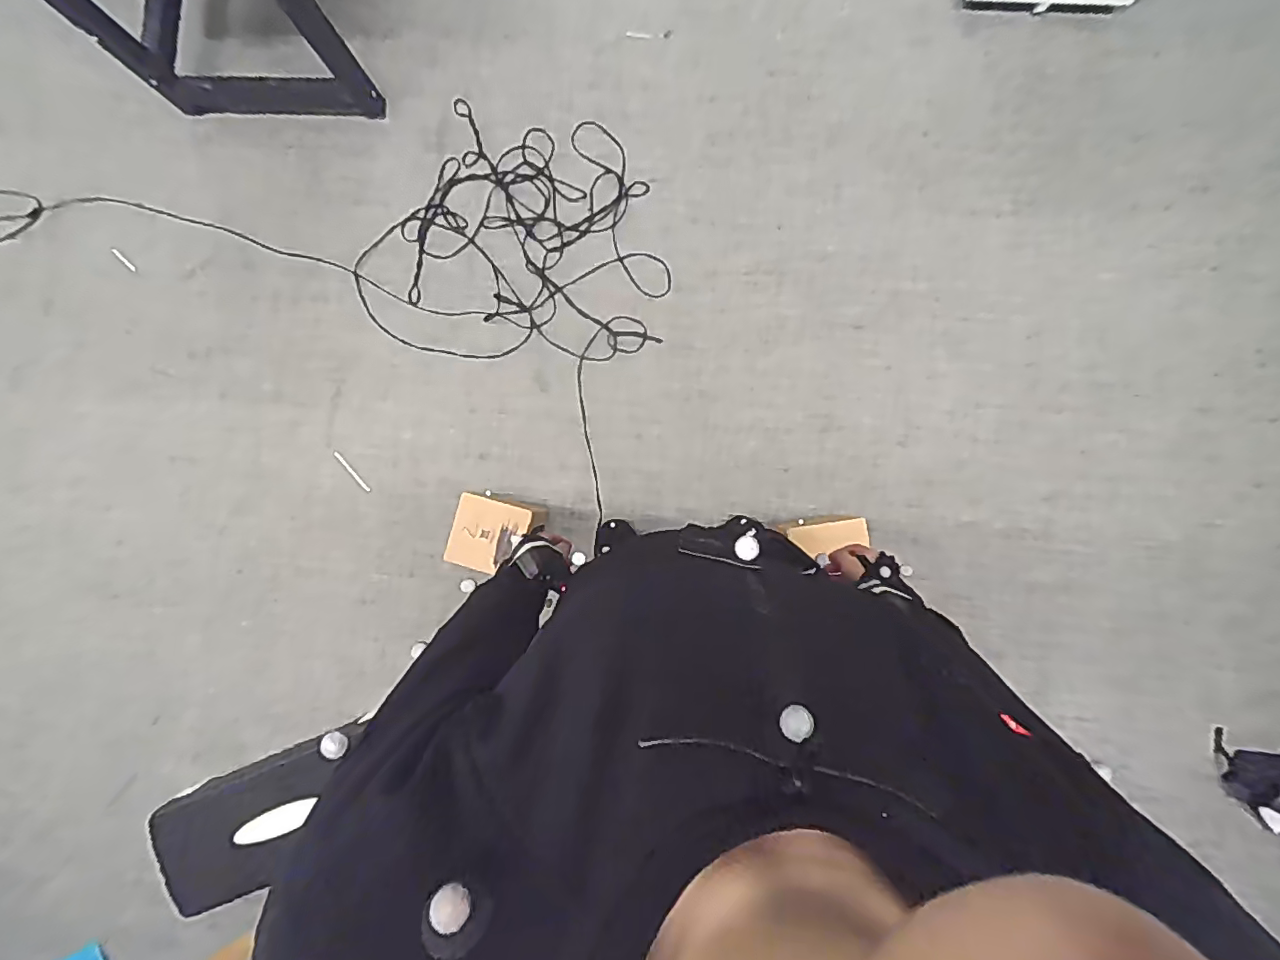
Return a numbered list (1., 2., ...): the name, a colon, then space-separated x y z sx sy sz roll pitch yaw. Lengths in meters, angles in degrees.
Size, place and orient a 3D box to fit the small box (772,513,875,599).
1. small box: 0.427 0.173 1.279 0.179 0.176 0.168 -10 88 3
